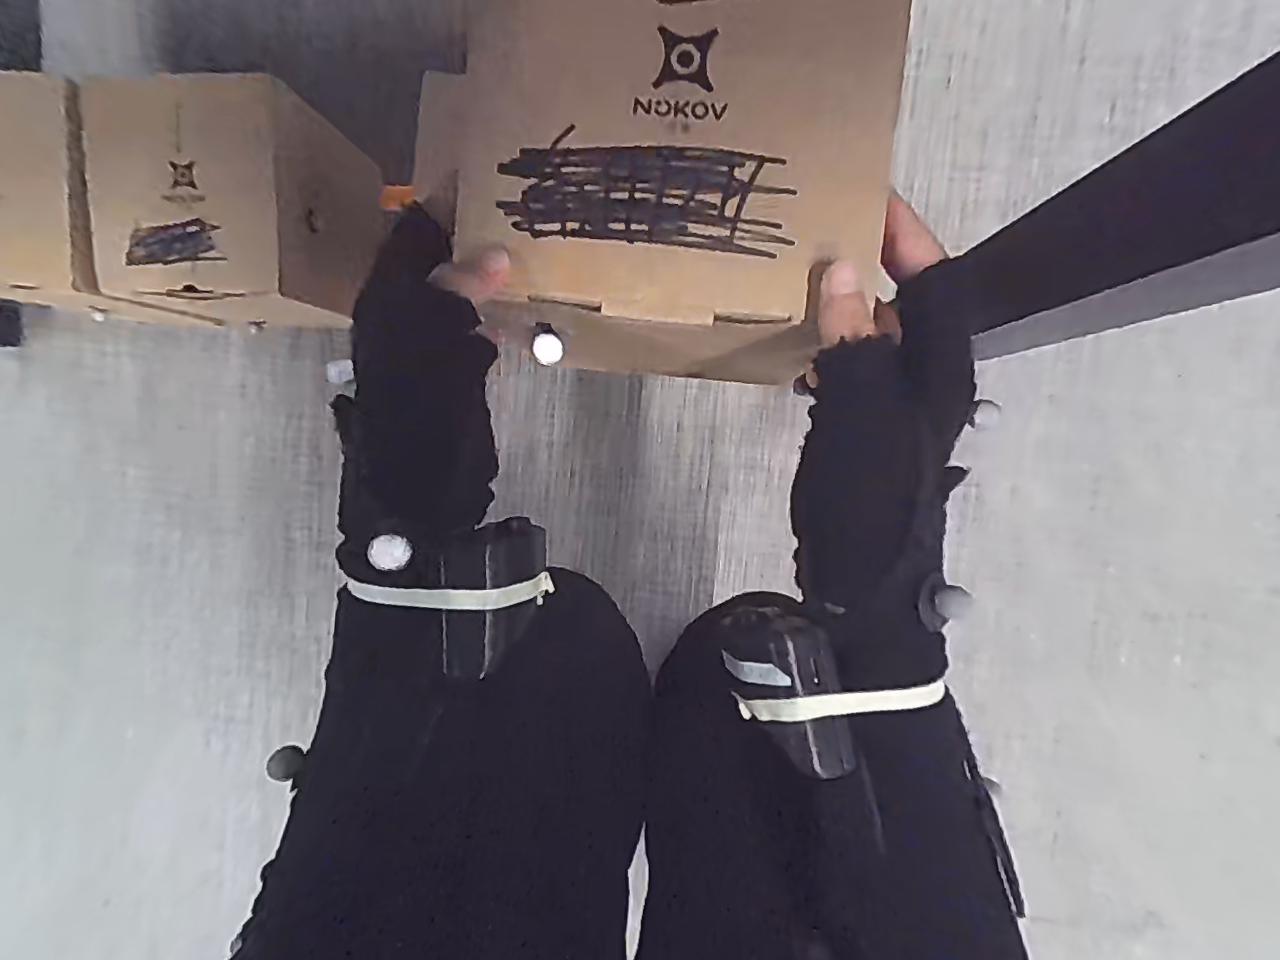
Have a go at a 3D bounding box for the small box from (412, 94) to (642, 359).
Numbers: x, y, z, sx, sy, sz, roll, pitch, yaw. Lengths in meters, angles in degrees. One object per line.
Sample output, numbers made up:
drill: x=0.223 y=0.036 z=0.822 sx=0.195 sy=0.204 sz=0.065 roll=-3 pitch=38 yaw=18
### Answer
small box: x=-0.093 y=-0.224 z=0.521 sx=0.168 sy=0.176 sz=0.179 roll=9 pitch=97 yaw=4
